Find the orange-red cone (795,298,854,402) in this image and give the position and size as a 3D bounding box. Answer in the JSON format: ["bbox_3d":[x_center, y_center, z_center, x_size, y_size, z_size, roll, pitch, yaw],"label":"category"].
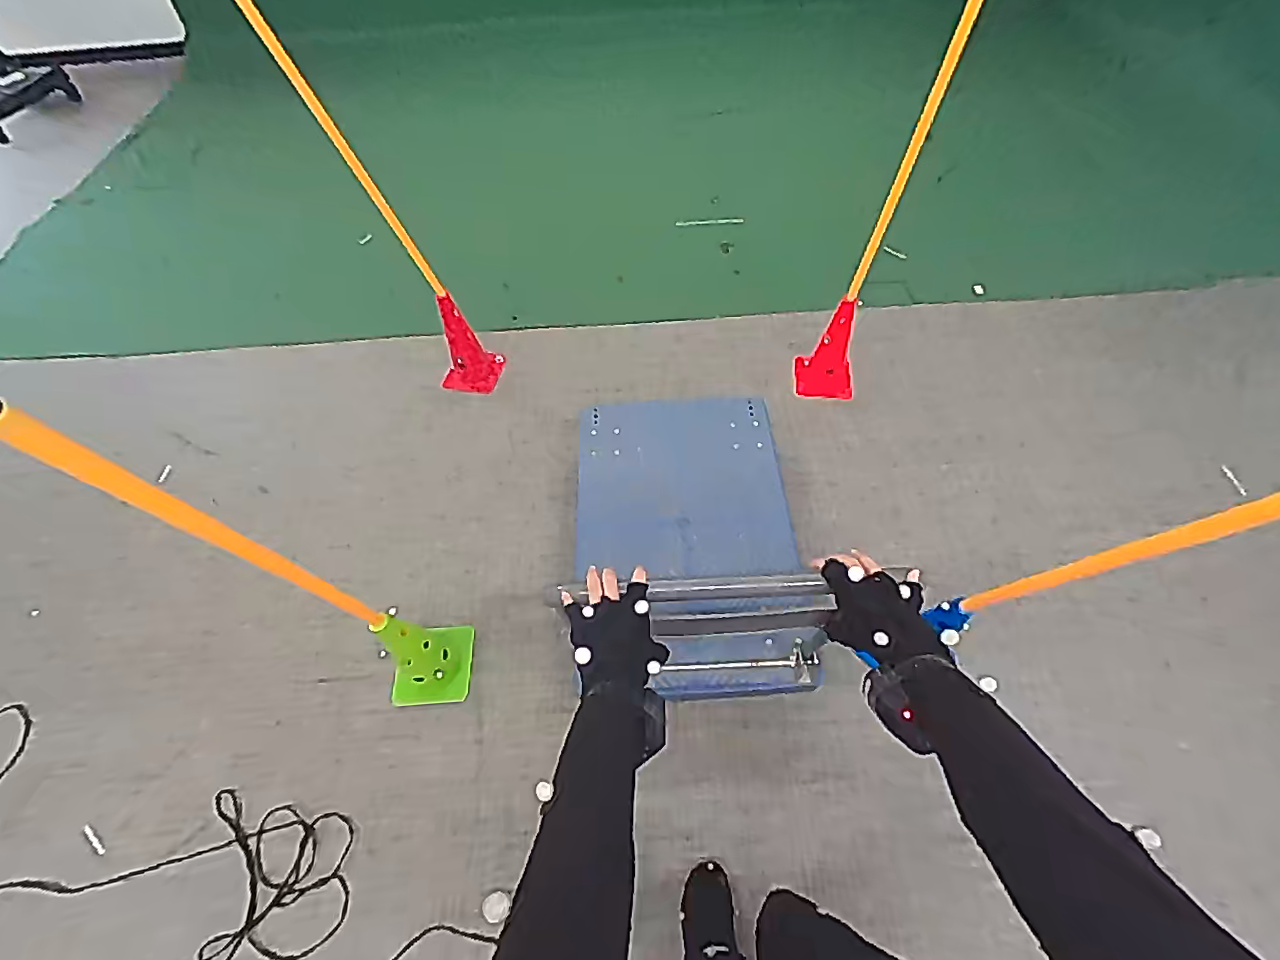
[{"bbox_3d":[0.655,-0.456,1.819,0.198,0.360,0.199,6,58,7],"label":"orange-red cone"}]
